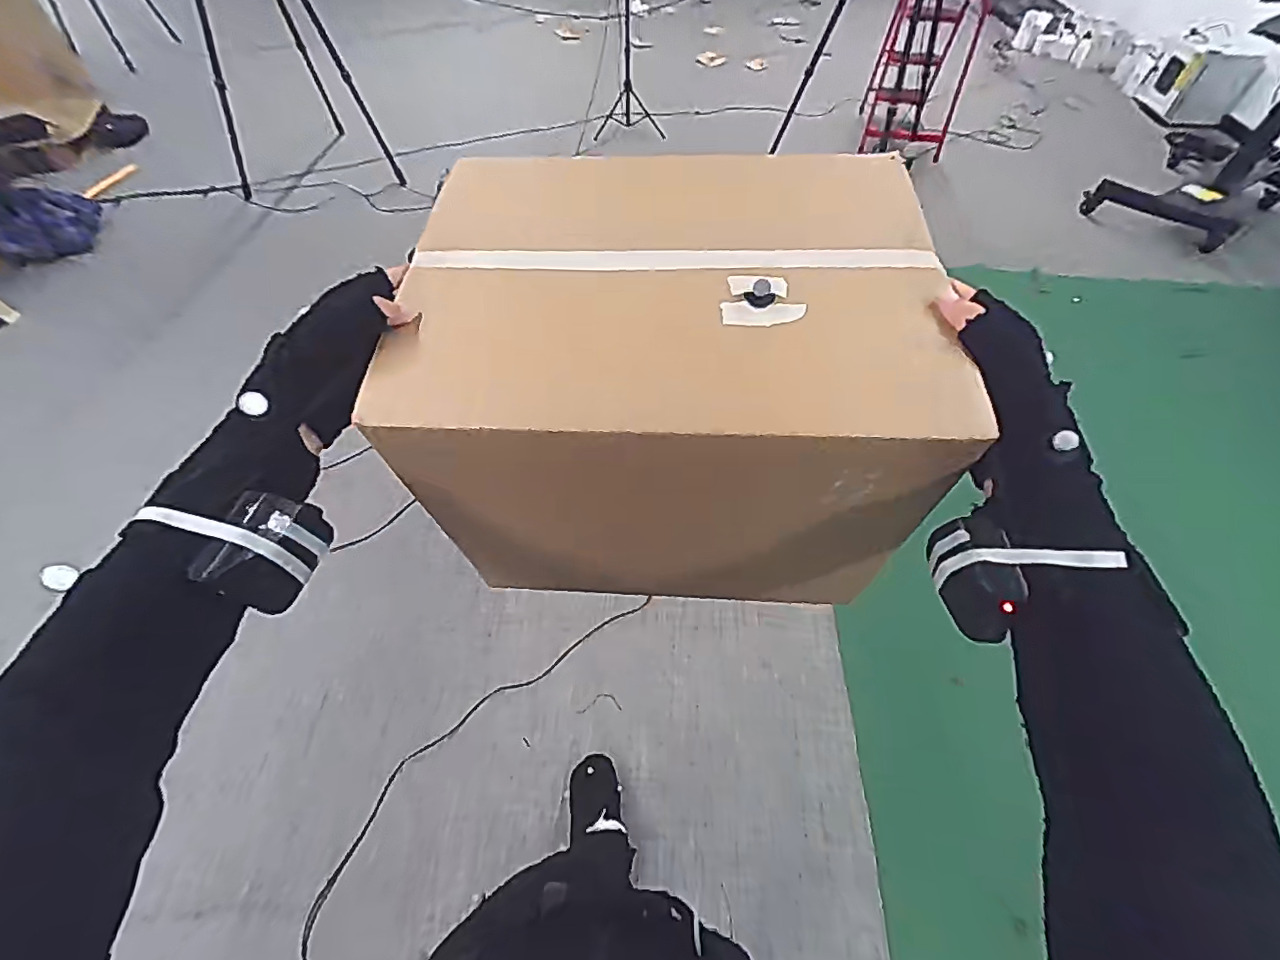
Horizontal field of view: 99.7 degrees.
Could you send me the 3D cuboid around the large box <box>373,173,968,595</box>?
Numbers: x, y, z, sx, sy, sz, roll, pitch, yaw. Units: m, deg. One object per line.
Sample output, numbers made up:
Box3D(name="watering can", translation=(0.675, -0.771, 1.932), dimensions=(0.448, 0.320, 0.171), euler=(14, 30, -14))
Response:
Box3D(name="large box", translation=(0.024, -0.080, 0.559), dimensions=(0.408, 0.320, 0.320), euler=(2, 60, 3))
